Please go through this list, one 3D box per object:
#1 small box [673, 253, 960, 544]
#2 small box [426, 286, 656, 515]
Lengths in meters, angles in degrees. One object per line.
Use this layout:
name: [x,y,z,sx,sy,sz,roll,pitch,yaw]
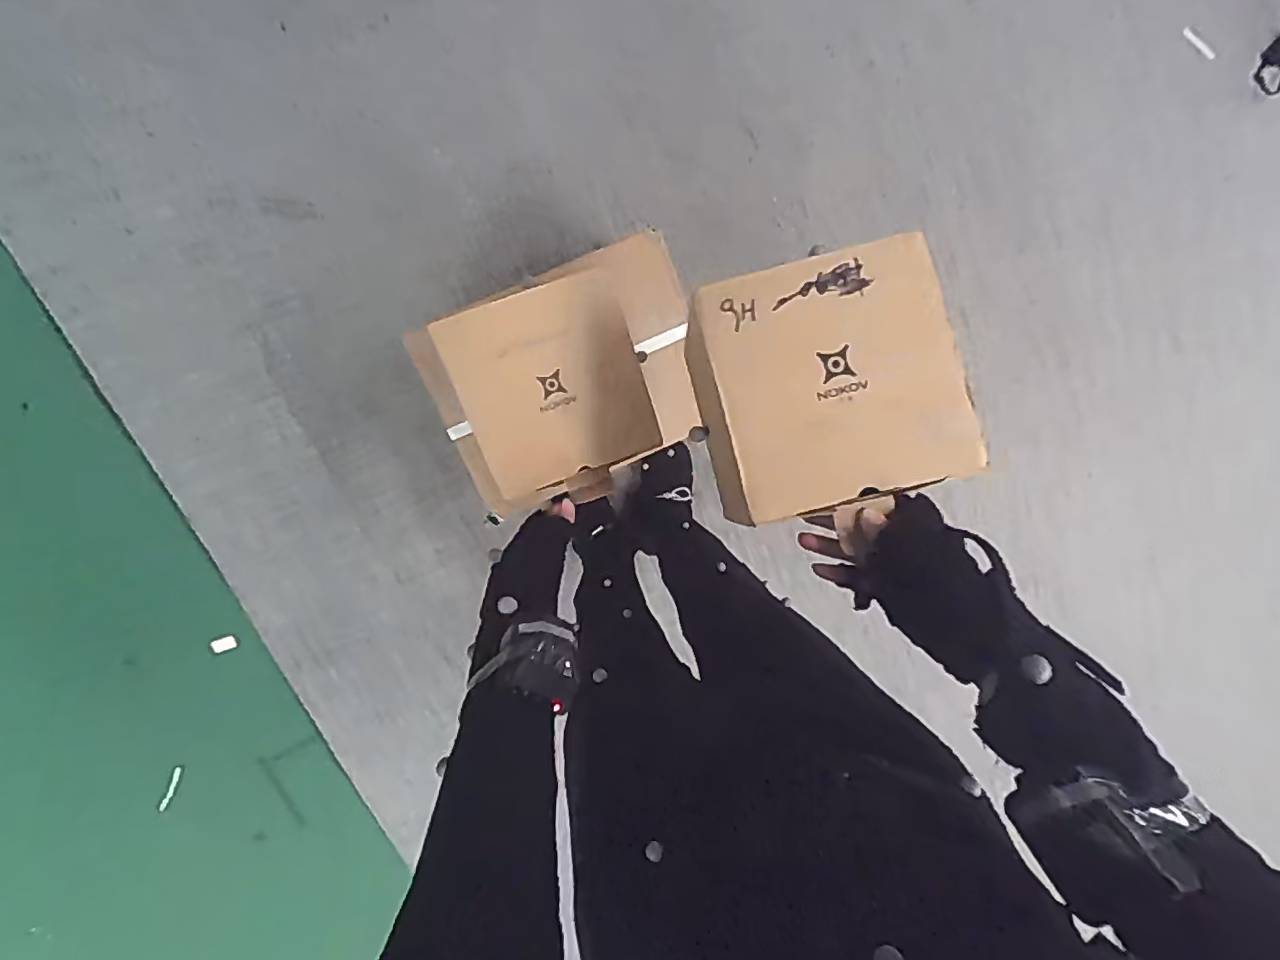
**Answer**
small box: [0.128,-0.056,0.459,0.168,0.176,0.179,-15,88,2]
small box: [-0.097,-0.091,0.575,0.168,0.176,0.179,-21,108,-4]
